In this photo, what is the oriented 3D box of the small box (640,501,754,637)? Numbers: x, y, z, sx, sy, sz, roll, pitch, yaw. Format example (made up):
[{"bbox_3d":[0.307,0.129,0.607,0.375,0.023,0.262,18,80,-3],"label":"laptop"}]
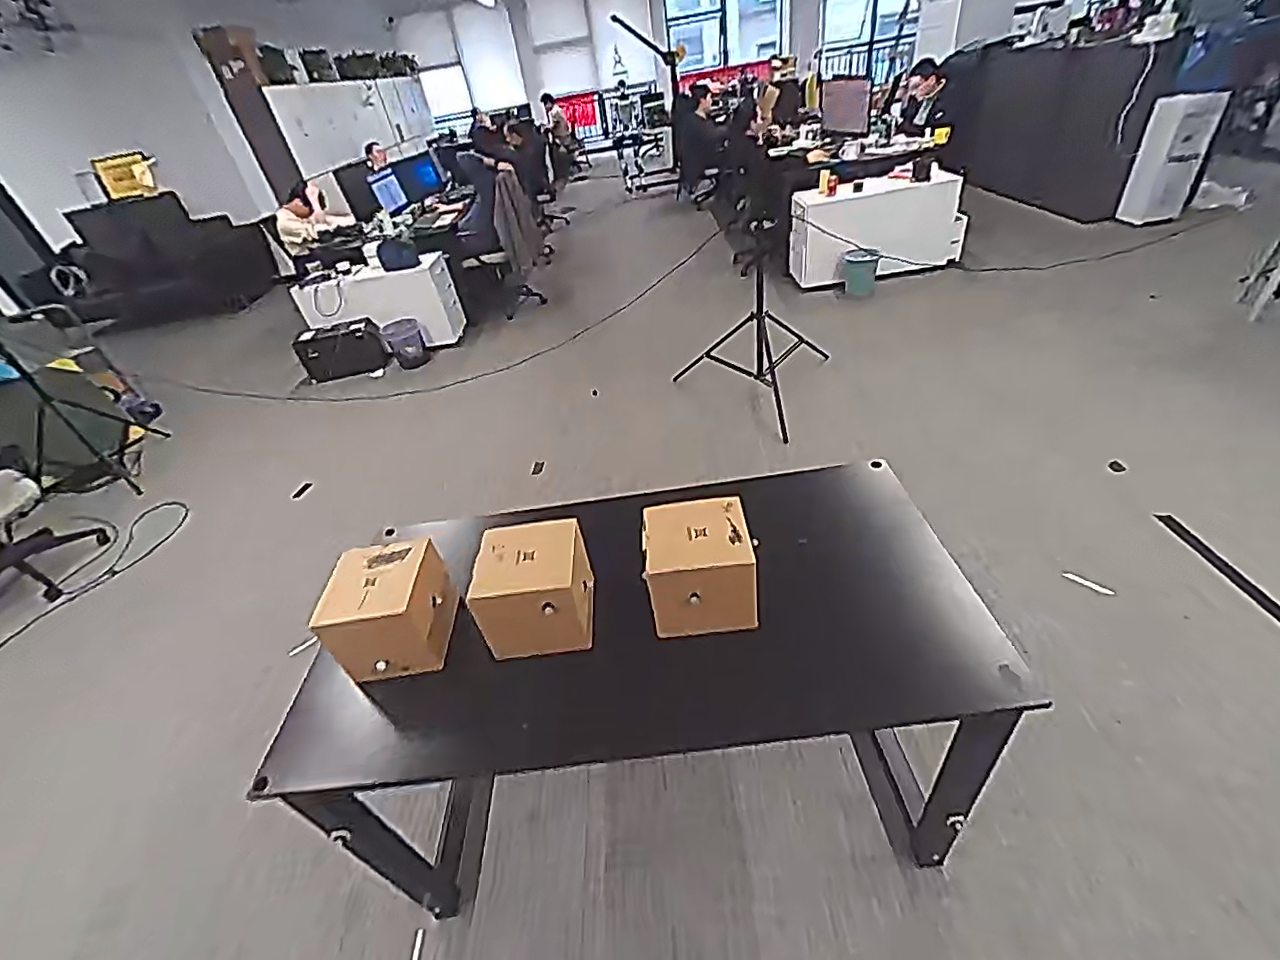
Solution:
[{"bbox_3d":[0.100,0.161,0.962,0.179,0.176,0.168,-8,37,5],"label":"small box"}]

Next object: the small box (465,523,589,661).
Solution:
[{"bbox_3d":[-0.190,0.202,0.975,0.179,0.176,0.168,-8,37,2],"label":"small box"}]

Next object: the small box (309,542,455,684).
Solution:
[{"bbox_3d":[-0.454,0.242,0.988,0.168,0.176,0.179,-9,38,1],"label":"small box"}]
